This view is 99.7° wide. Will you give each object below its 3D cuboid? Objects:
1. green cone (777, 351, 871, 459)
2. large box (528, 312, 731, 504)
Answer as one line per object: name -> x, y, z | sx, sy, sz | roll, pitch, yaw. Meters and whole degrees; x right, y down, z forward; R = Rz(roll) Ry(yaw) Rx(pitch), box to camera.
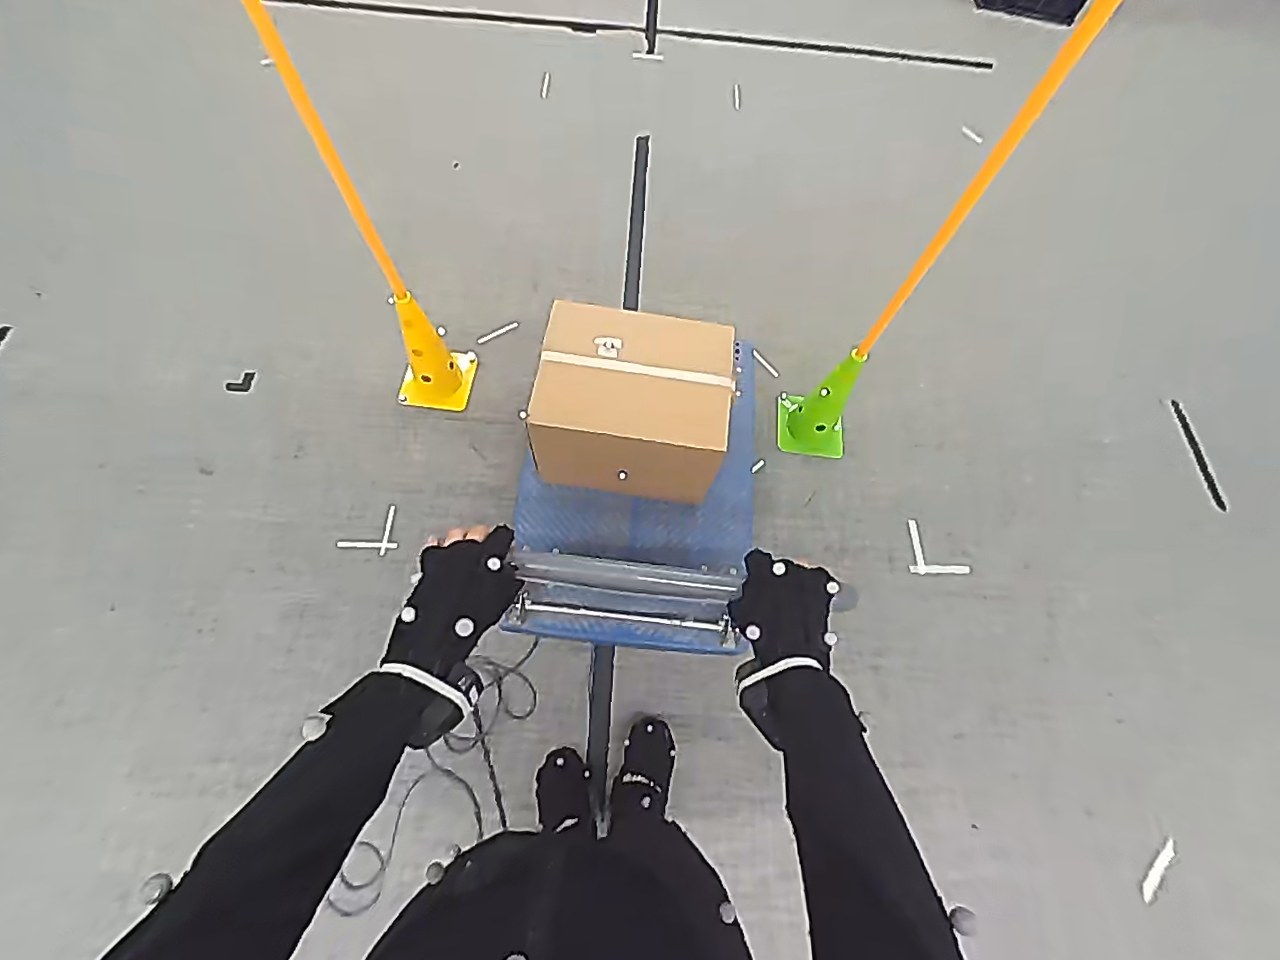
green cone -> 0.536, -0.232, 1.510 | 0.202, 0.368, 0.200 | 8, 66, -2
large box -> -0.017, -0.154, 1.279 | 0.408, 0.320, 0.320 | 8, 66, 0
